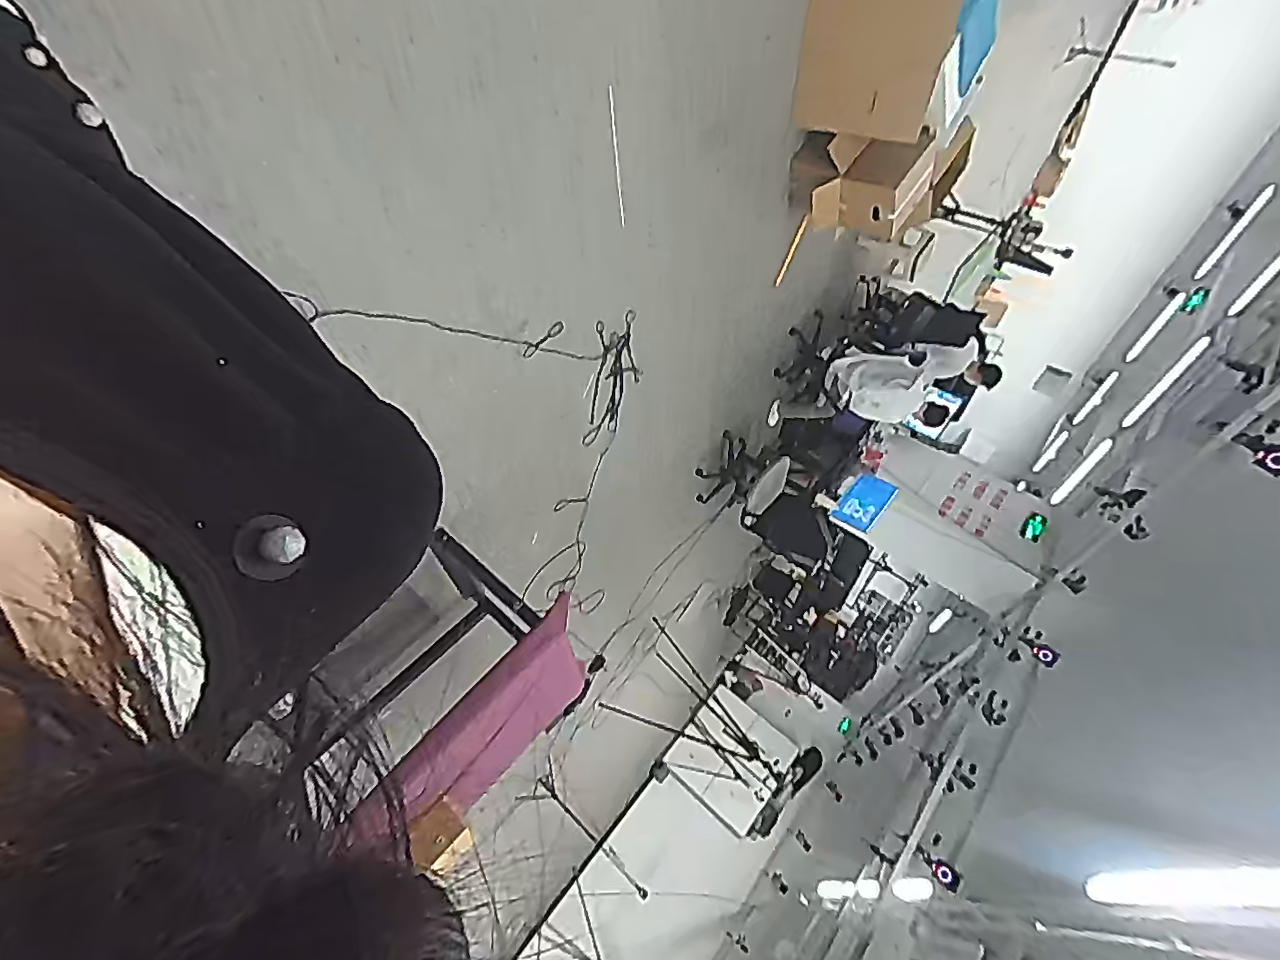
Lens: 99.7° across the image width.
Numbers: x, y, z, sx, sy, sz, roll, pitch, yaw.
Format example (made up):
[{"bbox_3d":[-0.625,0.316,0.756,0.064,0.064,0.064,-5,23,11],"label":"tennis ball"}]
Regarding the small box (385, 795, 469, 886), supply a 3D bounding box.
[{"bbox_3d":[-0.698,1.179,1.777,0.179,0.176,0.168,-40,150,-31],"label":"small box"}]
